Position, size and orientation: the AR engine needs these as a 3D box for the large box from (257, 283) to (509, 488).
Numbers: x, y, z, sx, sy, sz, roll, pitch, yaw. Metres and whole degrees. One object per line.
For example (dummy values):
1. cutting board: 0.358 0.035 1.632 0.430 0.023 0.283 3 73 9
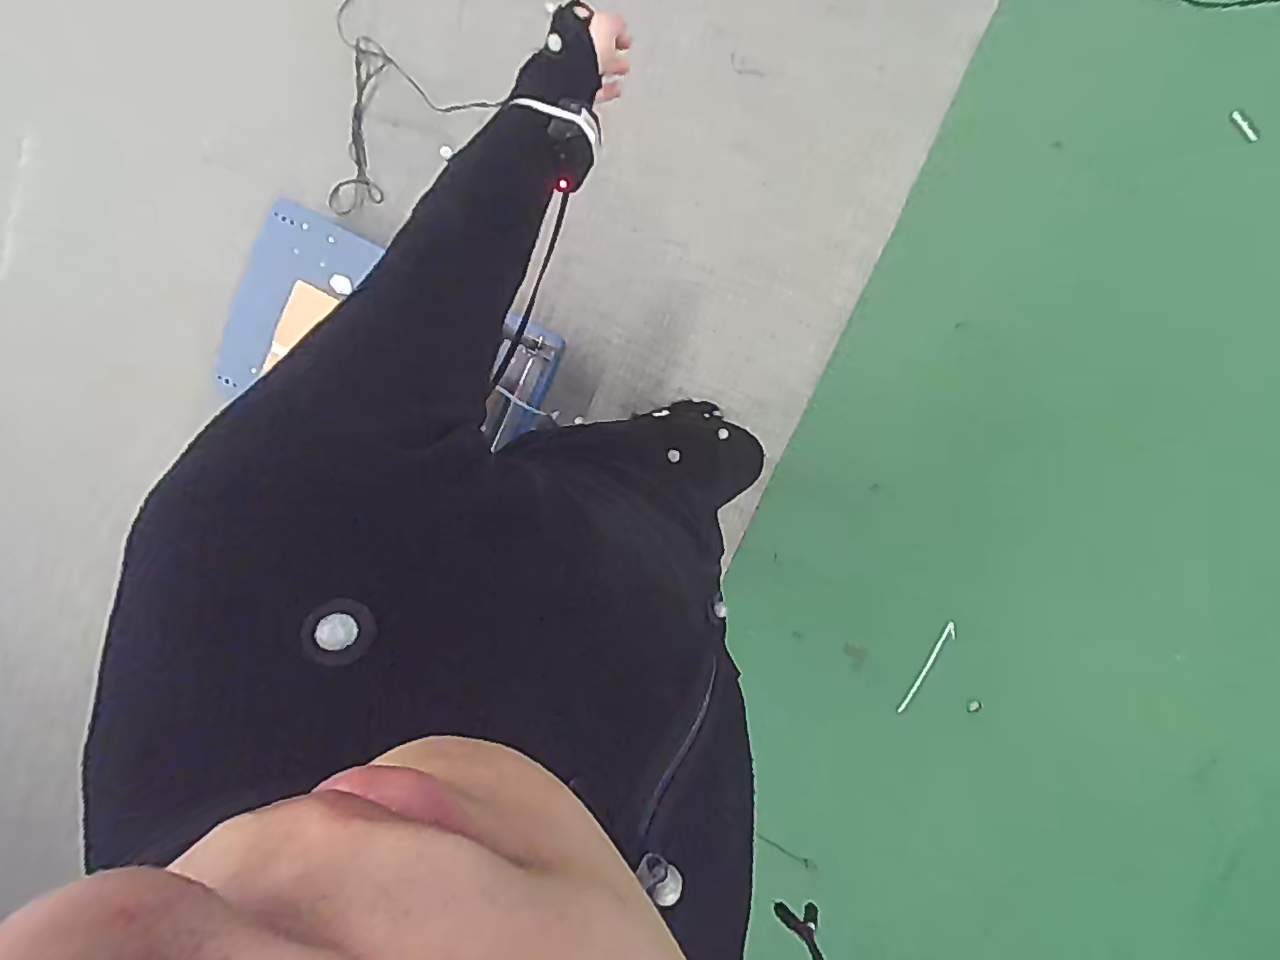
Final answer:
1. large box: -0.602 -0.222 1.329 0.408 0.320 0.320 29 98 2
